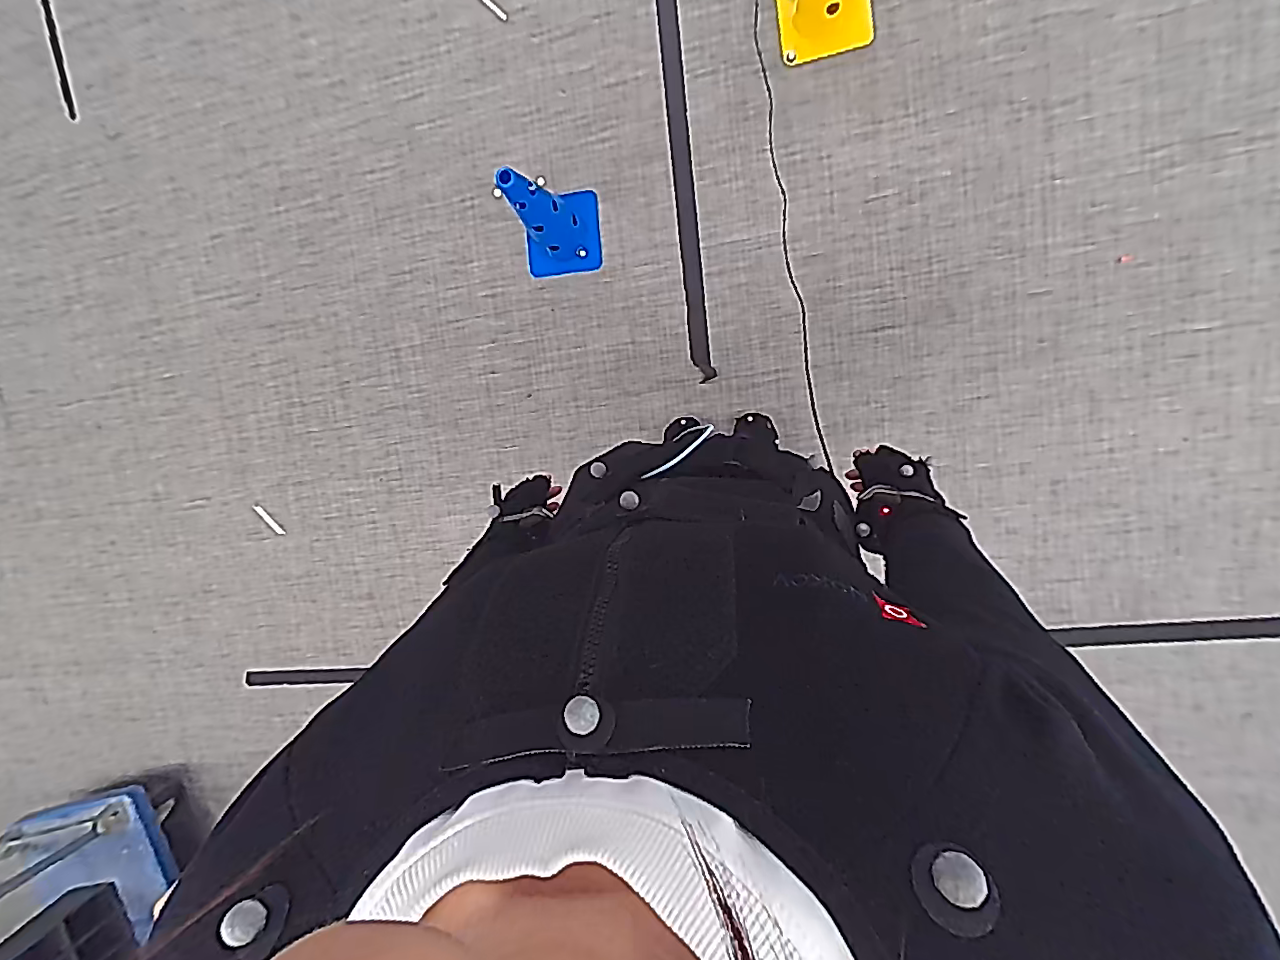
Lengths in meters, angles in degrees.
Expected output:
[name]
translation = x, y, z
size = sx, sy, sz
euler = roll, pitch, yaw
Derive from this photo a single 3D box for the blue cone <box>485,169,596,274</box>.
[blue cone]
translation = -0.243, -0.624, 1.249
size = 0.192, 0.380, 0.193
euler = -1, 97, 12
